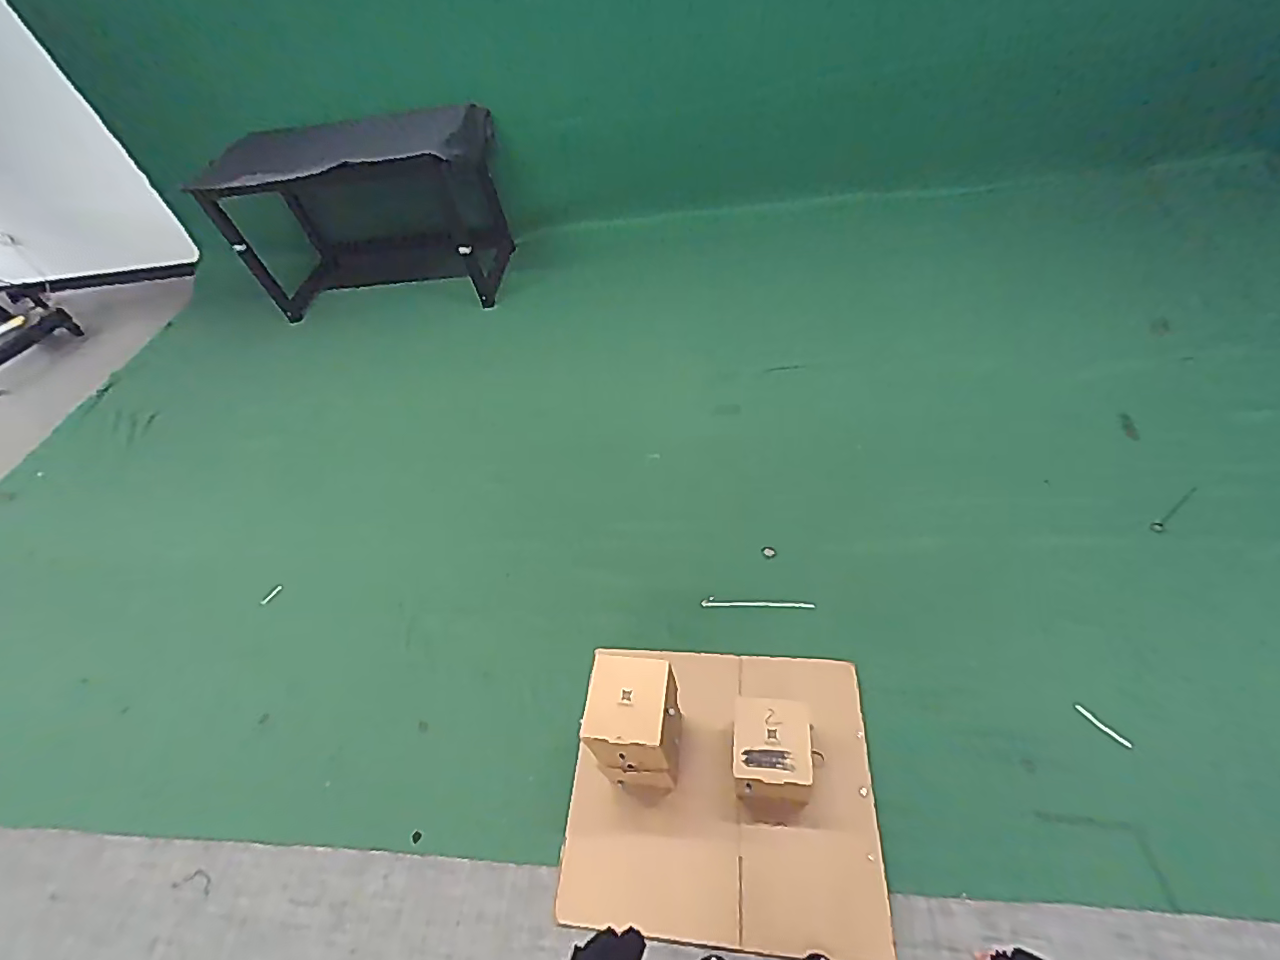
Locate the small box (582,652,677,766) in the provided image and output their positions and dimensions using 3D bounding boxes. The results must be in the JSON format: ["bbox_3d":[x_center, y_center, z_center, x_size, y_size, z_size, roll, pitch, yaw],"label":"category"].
[{"bbox_3d":[-0.014,0.498,1.173,0.168,0.176,0.179,2,51,12],"label":"small box"}]

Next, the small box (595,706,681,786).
[{"bbox_3d":[0.003,0.611,1.289,0.168,0.176,0.179,0,49,12],"label":"small box"}]
